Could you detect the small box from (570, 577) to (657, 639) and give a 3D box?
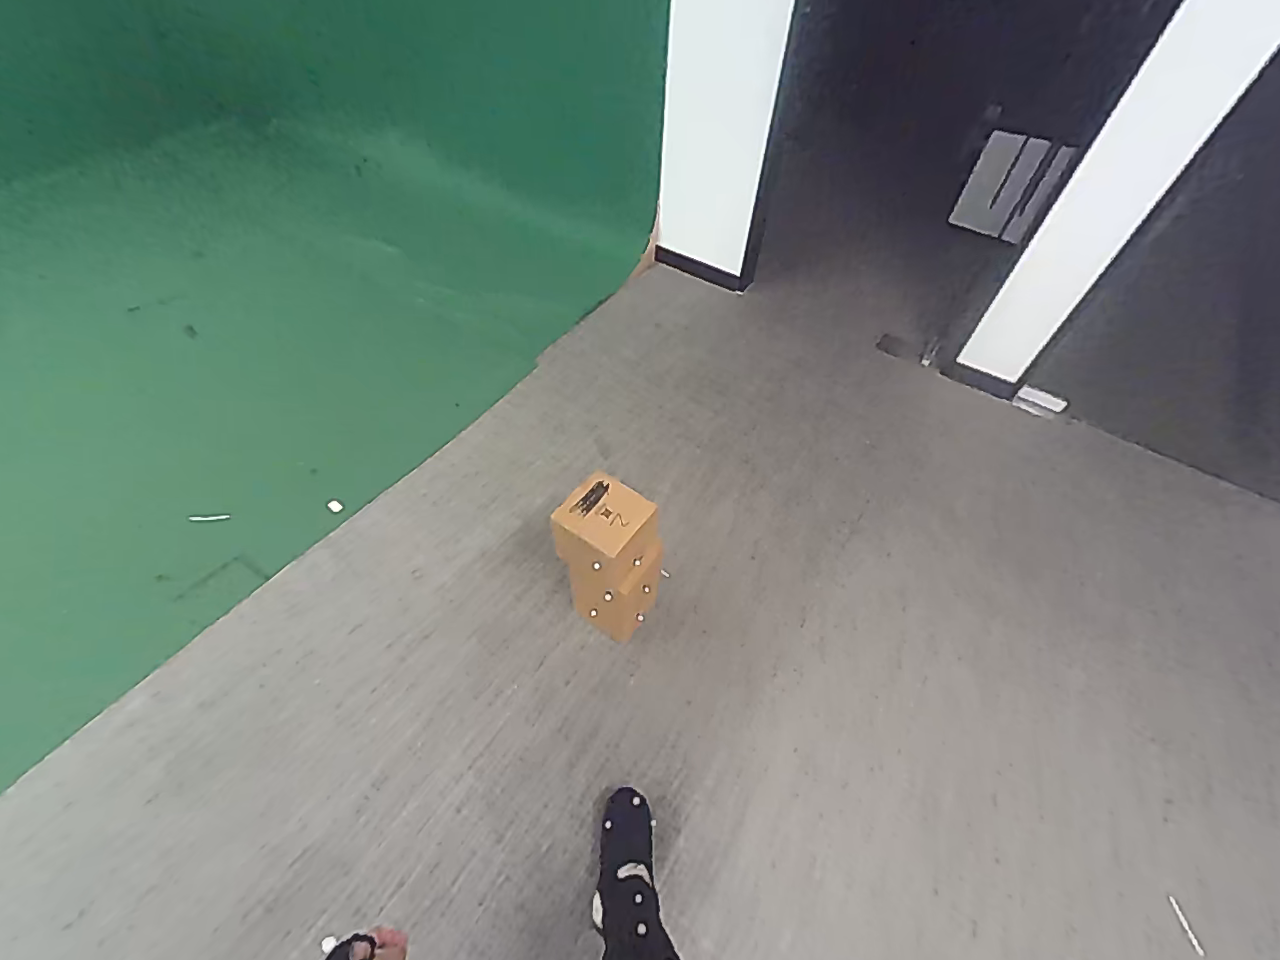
[{"bbox_3d":[-0.069,0.315,1.490,0.179,0.176,0.168,28,58,18],"label":"small box"}]

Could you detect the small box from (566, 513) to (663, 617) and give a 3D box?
[{"bbox_3d":[-0.062,0.220,1.355,0.179,0.176,0.168,29,57,18],"label":"small box"}]
